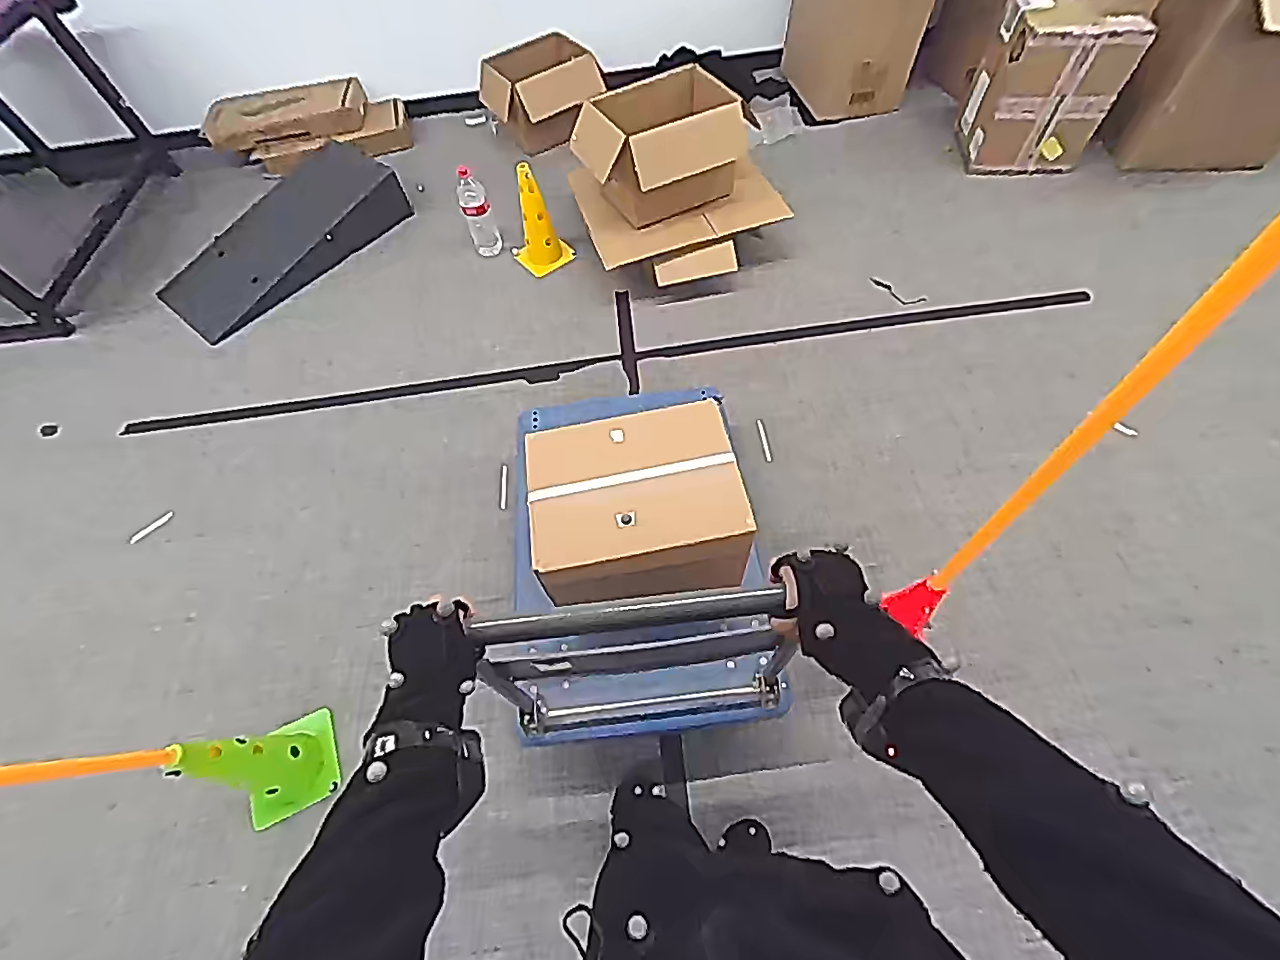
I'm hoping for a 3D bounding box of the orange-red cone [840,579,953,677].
[{"bbox_3d":[0.588,0.292,1.174,0.199,0.360,0.198,-1,60,3],"label":"orange-red cone"}]
